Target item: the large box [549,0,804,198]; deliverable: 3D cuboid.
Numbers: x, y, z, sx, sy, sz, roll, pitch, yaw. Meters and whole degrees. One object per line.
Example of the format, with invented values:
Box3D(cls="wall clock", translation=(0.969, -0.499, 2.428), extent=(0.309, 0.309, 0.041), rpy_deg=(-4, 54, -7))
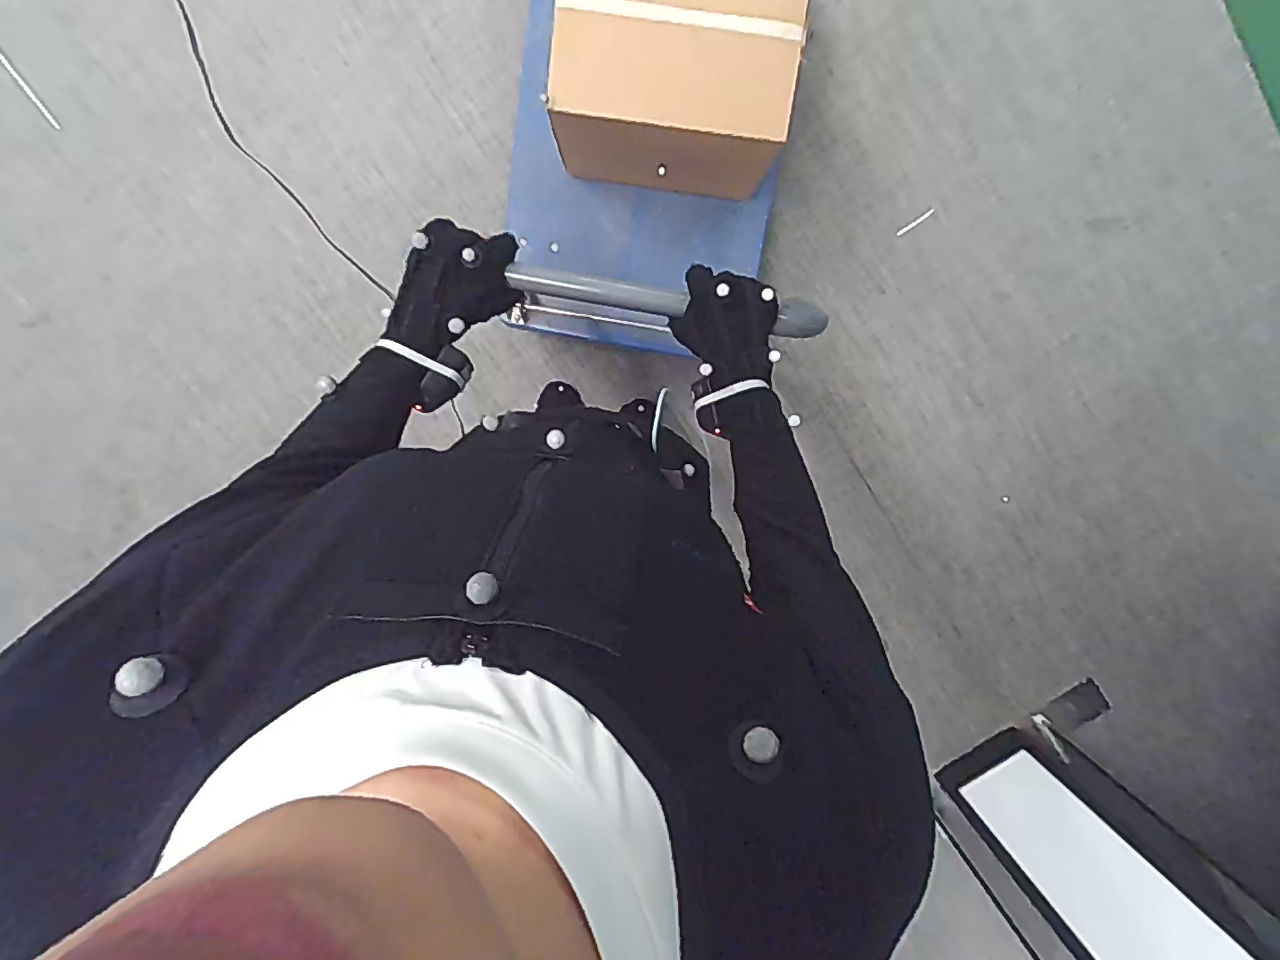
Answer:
Box3D(cls="large box", translation=(0.062, -0.761, 1.023), extent=(0.408, 0.320, 0.320), rpy_deg=(7, 100, -2))
